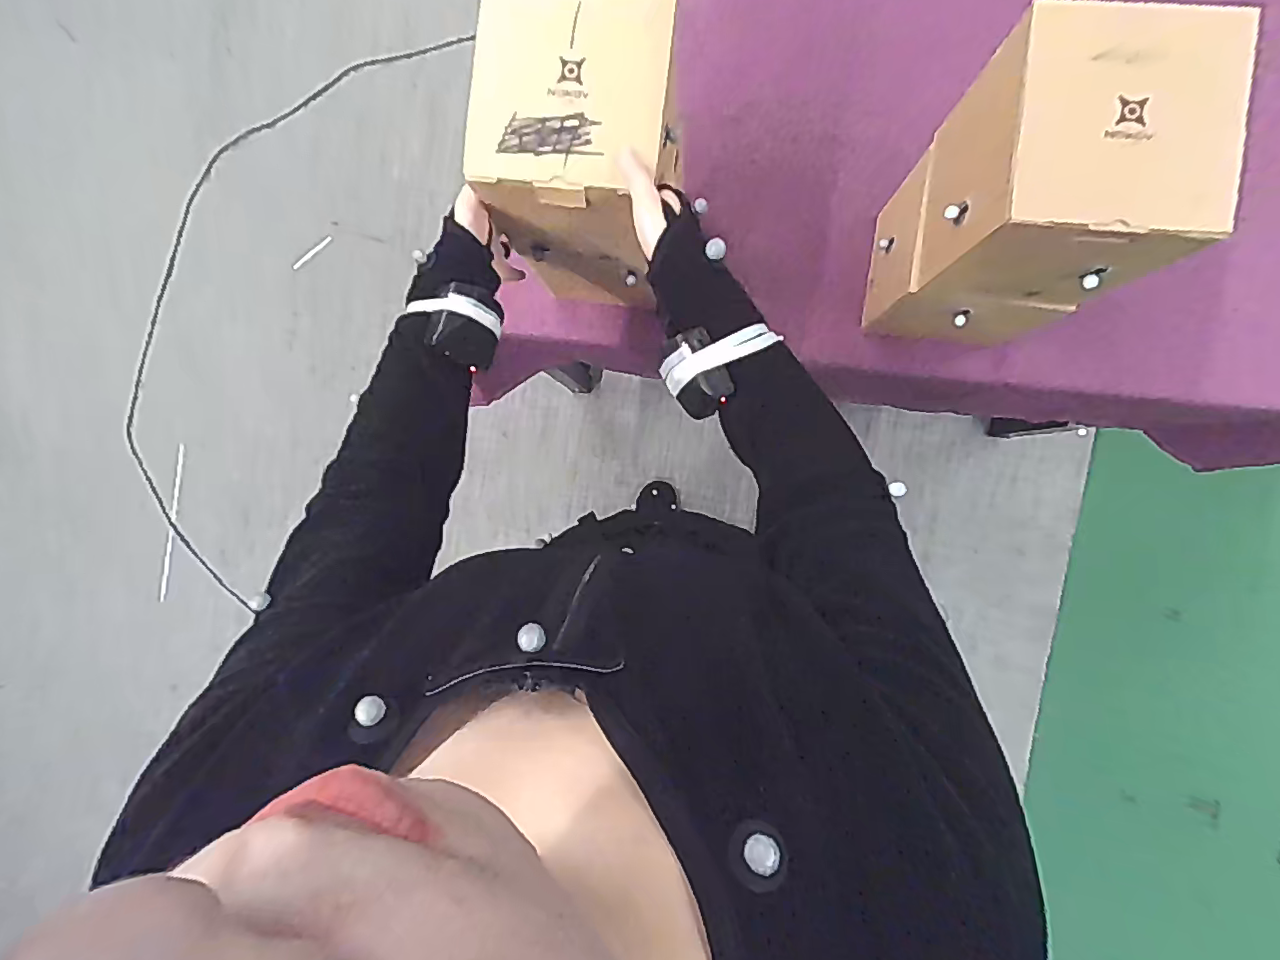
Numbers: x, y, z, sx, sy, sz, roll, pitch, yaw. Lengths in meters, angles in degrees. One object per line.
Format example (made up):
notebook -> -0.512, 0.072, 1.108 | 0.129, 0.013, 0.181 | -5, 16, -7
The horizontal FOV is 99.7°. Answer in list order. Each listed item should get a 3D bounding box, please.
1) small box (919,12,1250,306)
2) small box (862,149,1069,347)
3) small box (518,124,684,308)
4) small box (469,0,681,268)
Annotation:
small box -> 0.383, -0.275, 0.502 | 0.168, 0.176, 0.179 | 7, 90, 4
small box -> 0.394, -0.271, 0.665 | 0.179, 0.176, 0.168 | 9, 92, 4
small box -> -0.041, -0.334, 0.699 | 0.179, 0.176, 0.168 | 7, 91, 3
small box -> -0.051, -0.329, 0.534 | 0.168, 0.176, 0.179 | 7, 90, 3
